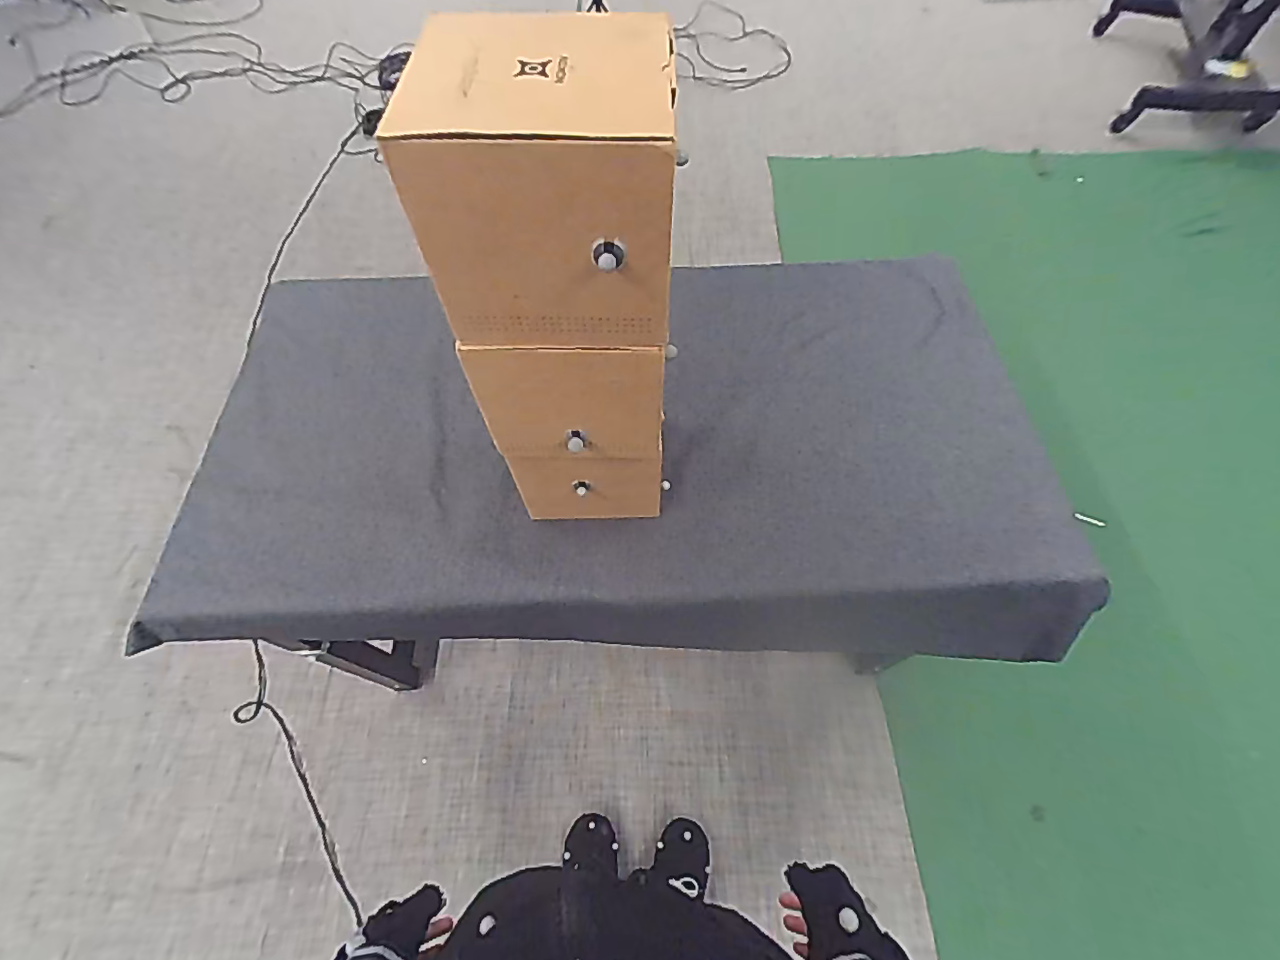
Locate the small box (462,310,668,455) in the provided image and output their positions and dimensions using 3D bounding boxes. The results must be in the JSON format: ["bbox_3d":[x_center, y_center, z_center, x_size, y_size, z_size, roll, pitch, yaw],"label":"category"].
[{"bbox_3d":[-0.064,-0.137,0.565,0.179,0.176,0.168,0,60,0],"label":"small box"}]

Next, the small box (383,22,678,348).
[{"bbox_3d":[-0.064,-0.220,0.425,0.179,0.176,0.168,-1,59,1],"label":"small box"}]

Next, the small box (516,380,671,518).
[{"bbox_3d":[-0.058,-0.061,0.709,0.179,0.176,0.168,-4,61,-2],"label":"small box"}]
